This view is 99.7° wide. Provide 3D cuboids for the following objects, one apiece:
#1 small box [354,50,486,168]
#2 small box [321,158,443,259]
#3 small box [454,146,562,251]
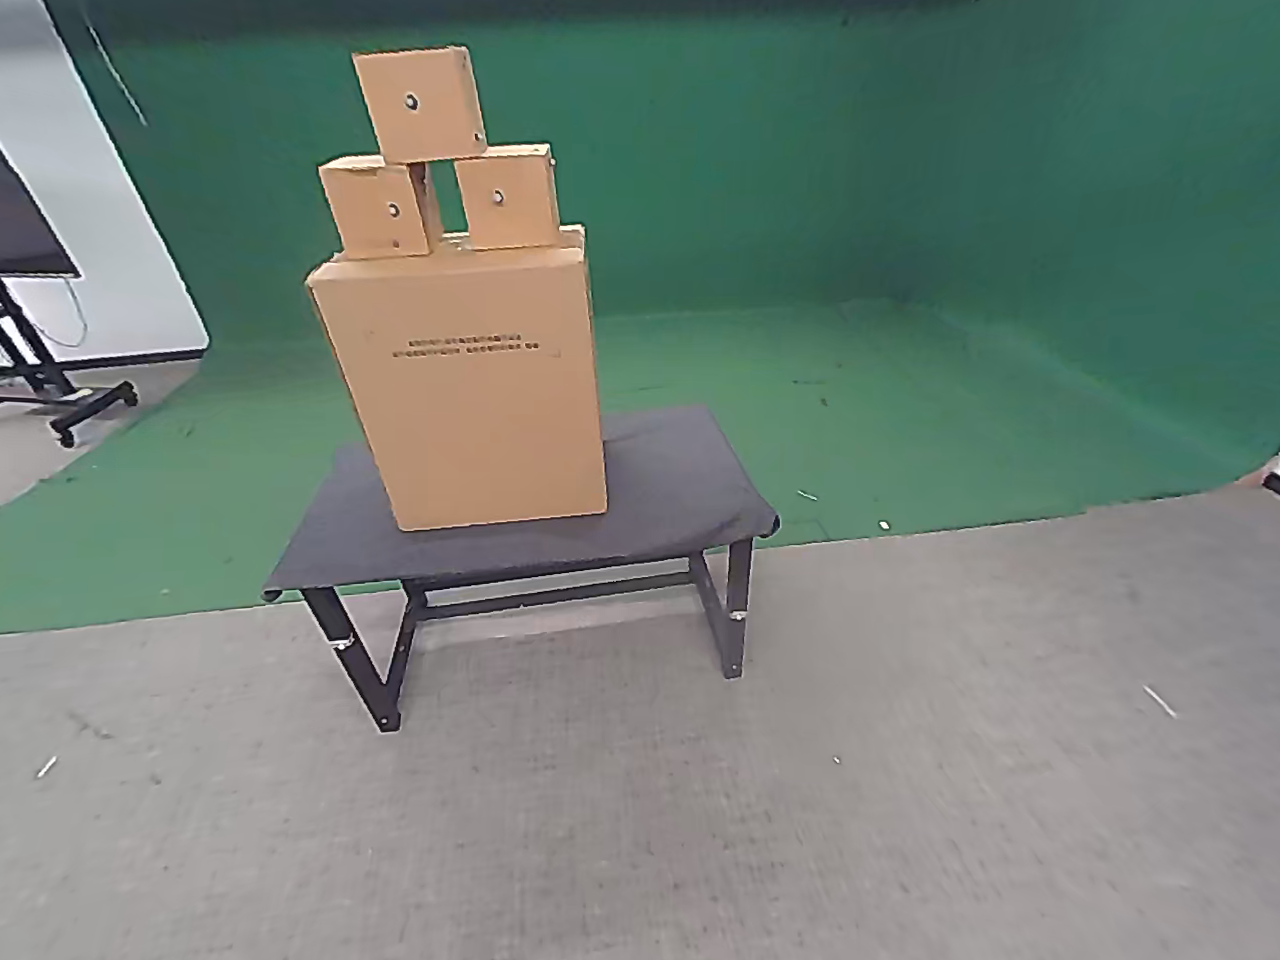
[{"bbox_3d":[-0.406,-0.712,1.038,0.179,0.176,0.168,-7,37,-2],"label":"small box"},{"bbox_3d":[-0.524,-0.568,1.132,0.168,0.176,0.179,-5,36,-4],"label":"small box"},{"bbox_3d":[-0.269,-0.594,1.144,0.179,0.176,0.168,-5,38,-1],"label":"small box"}]
